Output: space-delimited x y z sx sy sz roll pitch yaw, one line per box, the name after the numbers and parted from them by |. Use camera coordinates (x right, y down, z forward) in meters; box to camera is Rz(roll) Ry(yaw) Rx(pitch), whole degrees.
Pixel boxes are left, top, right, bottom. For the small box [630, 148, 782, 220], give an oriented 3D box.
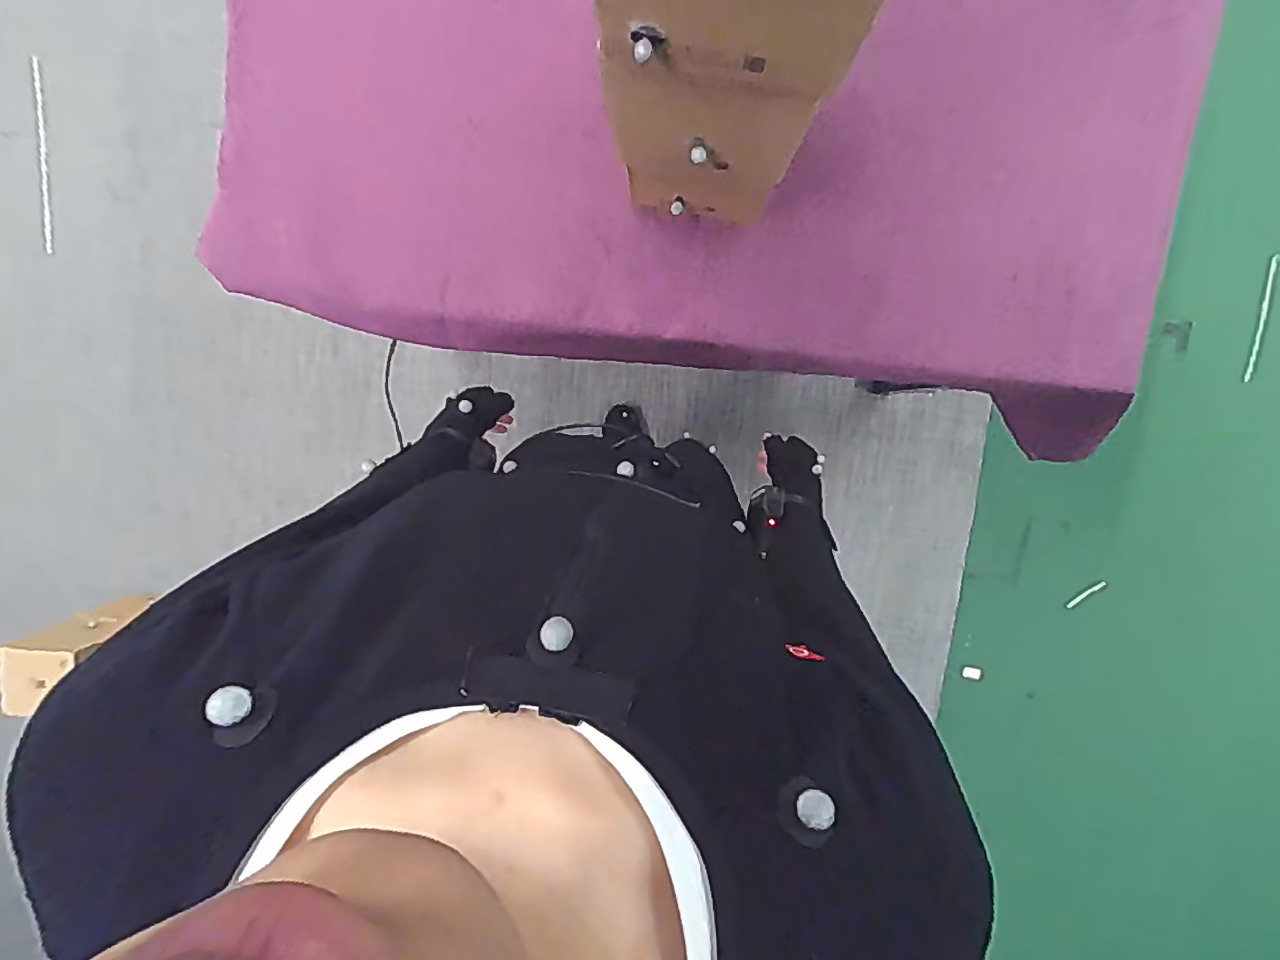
0.081 -0.422 0.607 0.168 0.176 0.179 10 98 1 | small box

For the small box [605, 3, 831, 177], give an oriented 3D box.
0.070 -0.387 0.447 0.168 0.176 0.179 9 97 1 | small box

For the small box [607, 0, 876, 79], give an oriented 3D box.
0.068 -0.358 0.285 0.168 0.176 0.179 9 96 1 | small box

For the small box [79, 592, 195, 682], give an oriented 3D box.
-1.358 0.423 1.471 0.168 0.176 0.179 5 97 1 | small box

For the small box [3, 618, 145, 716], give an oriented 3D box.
-1.361 0.443 1.308 0.179 0.176 0.168 5 96 1 | small box
